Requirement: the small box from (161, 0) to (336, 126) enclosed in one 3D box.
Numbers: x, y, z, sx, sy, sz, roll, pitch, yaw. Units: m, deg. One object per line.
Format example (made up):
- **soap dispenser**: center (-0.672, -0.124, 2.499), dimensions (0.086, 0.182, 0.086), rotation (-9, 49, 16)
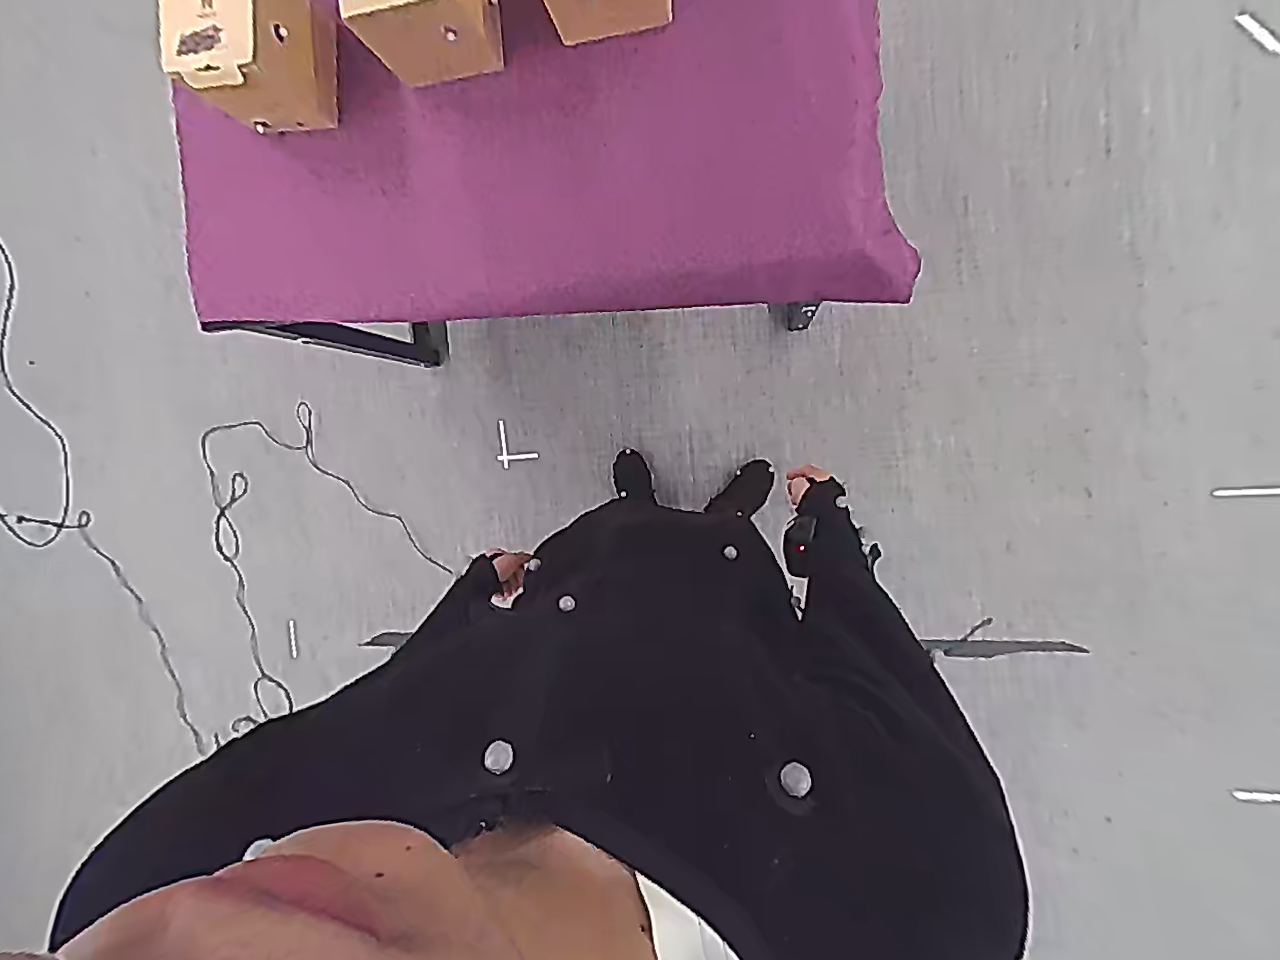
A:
- **small box**: center (-0.617, -0.700, 0.870), dimensions (0.168, 0.176, 0.179), rotation (3, 96, 10)
